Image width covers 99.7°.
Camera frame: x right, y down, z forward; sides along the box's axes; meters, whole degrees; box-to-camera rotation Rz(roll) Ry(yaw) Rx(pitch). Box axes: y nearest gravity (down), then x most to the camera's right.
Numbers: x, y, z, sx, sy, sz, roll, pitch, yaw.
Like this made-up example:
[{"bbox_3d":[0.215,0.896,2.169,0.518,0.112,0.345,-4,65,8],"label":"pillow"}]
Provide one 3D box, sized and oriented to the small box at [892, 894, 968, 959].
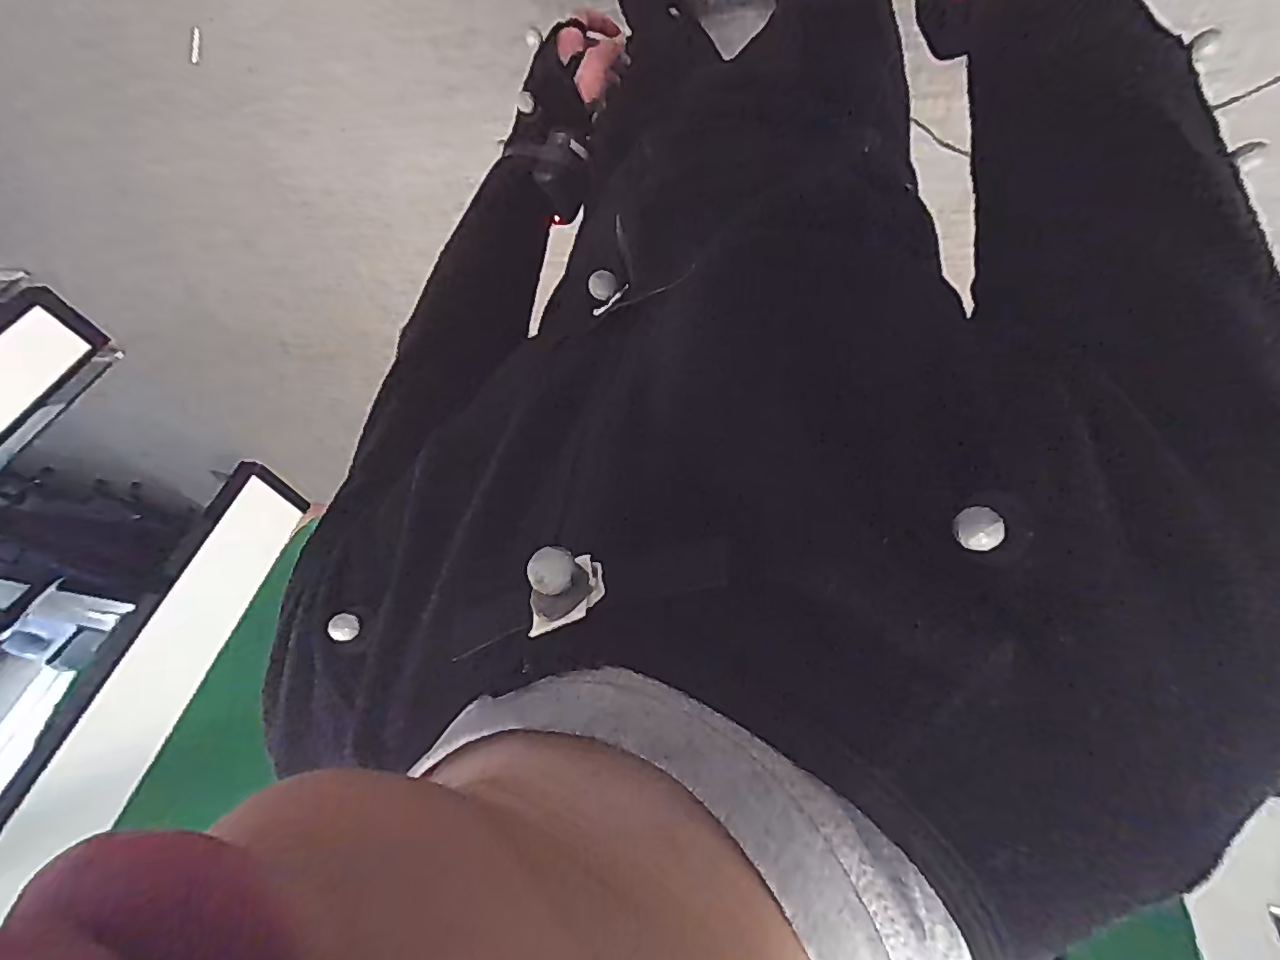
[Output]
[{"bbox_3d":[0.819,1.297,1.536,0.168,0.176,0.179,1,145,18],"label":"small box"}]
